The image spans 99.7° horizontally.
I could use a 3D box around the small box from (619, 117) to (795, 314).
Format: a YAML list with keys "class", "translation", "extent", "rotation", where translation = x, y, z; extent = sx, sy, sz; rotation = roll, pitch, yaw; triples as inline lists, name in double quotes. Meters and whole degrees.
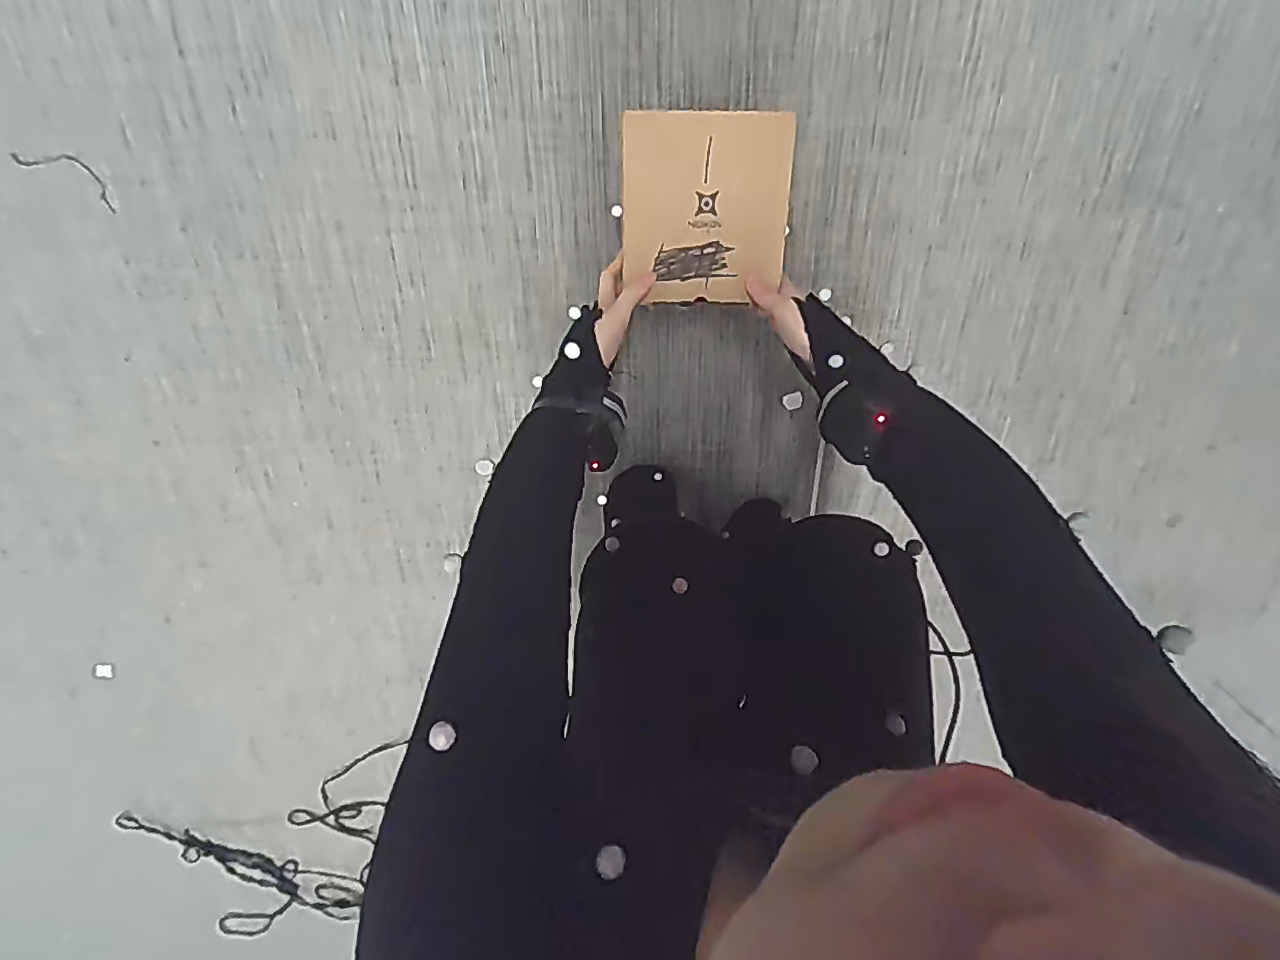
- class: "small box"
  translation: [0.063, -0.287, 0.610]
  extent: [0.168, 0.176, 0.179]
  rotation: [1, 112, 0]
